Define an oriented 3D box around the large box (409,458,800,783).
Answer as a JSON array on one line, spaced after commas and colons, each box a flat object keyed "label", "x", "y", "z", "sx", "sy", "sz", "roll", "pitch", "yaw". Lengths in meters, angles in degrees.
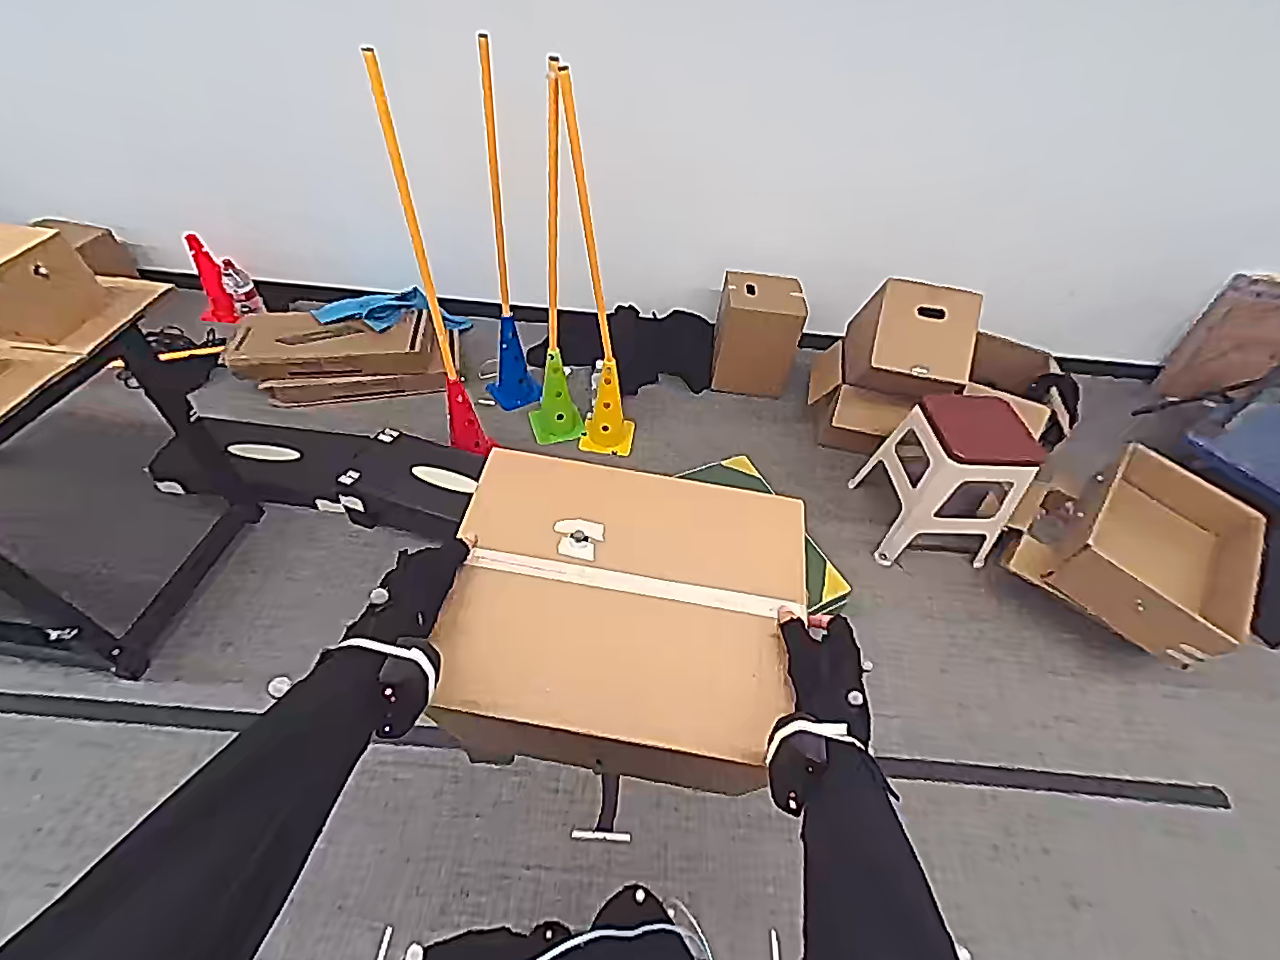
[{"label": "large box", "x": -0.025, "y": 0.206, "z": 0.744, "sx": 0.408, "sy": 0.320, "sz": 0.320, "roll": 9, "pitch": 55, "yaw": 2}]
